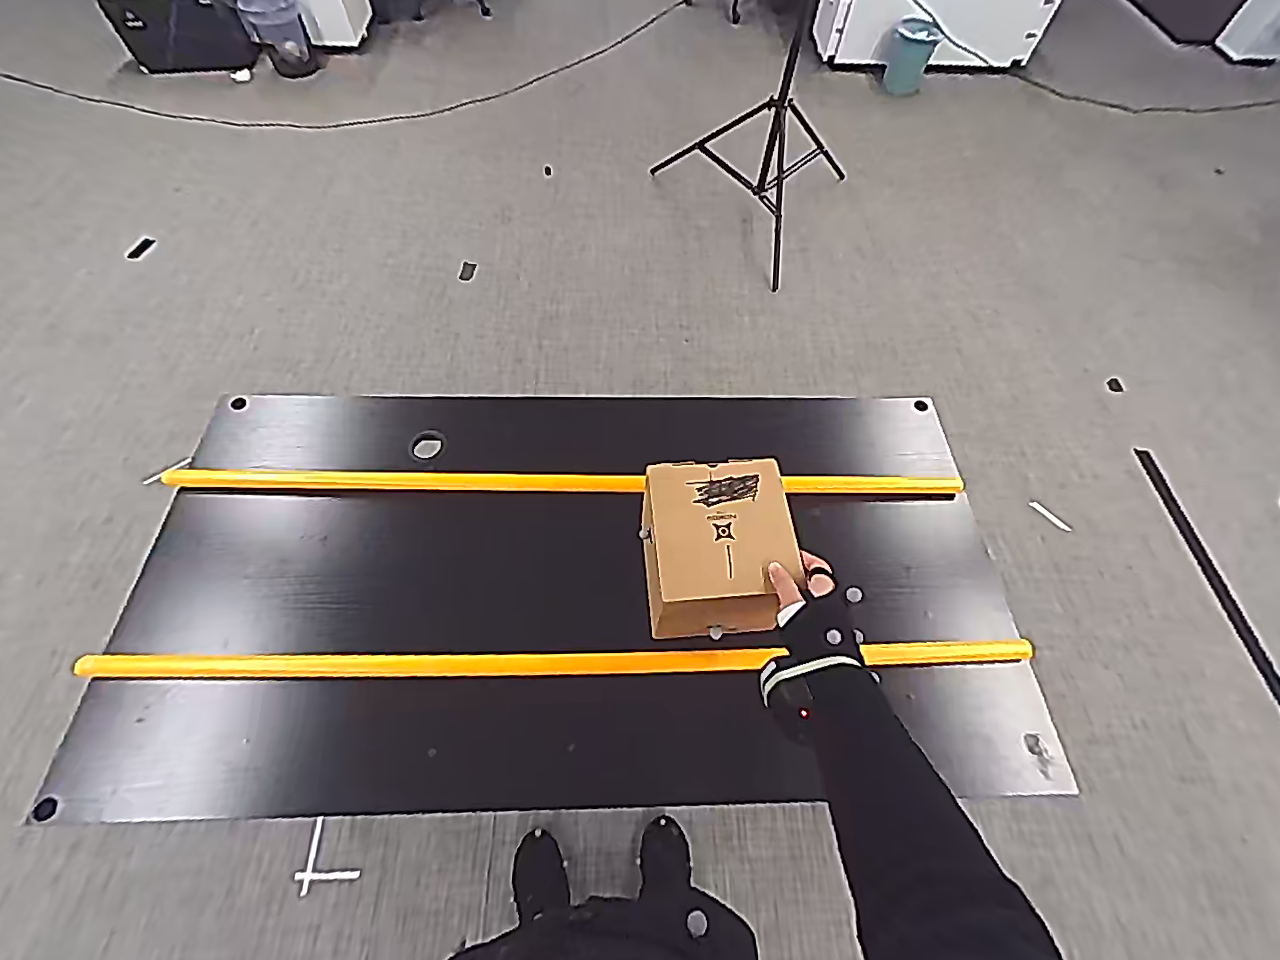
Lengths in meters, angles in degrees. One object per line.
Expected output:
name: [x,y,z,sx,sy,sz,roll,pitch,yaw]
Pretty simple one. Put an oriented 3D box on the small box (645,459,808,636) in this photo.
small box: [0.097,0.092,0.706,0.168,0.176,0.179,-3,61,-4]
